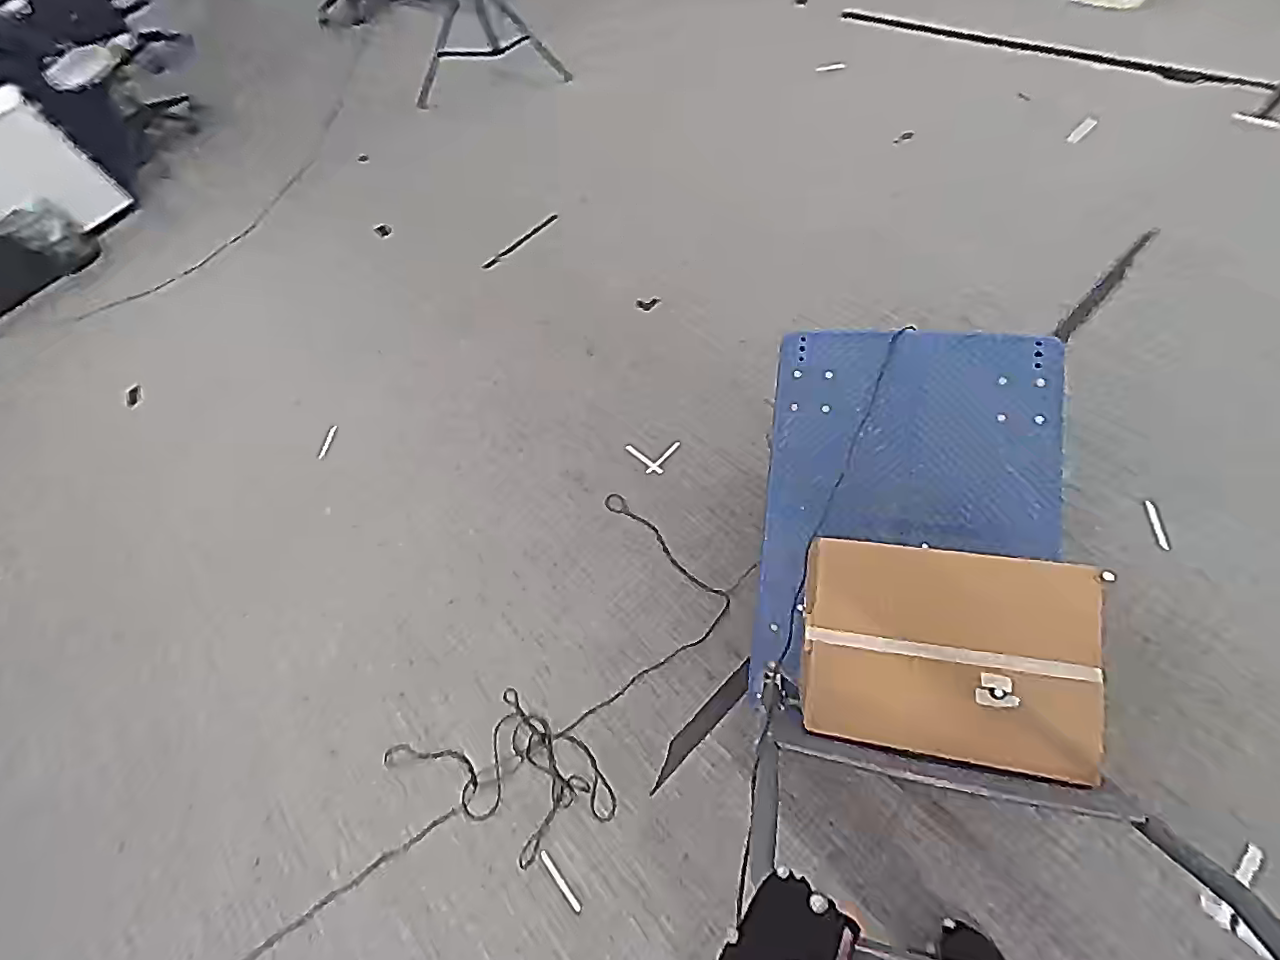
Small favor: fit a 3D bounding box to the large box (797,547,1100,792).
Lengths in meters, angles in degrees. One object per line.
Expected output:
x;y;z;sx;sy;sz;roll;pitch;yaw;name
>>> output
0.504;0.300;0.972;0.408;0.320;0.320;6;83;14;large box
